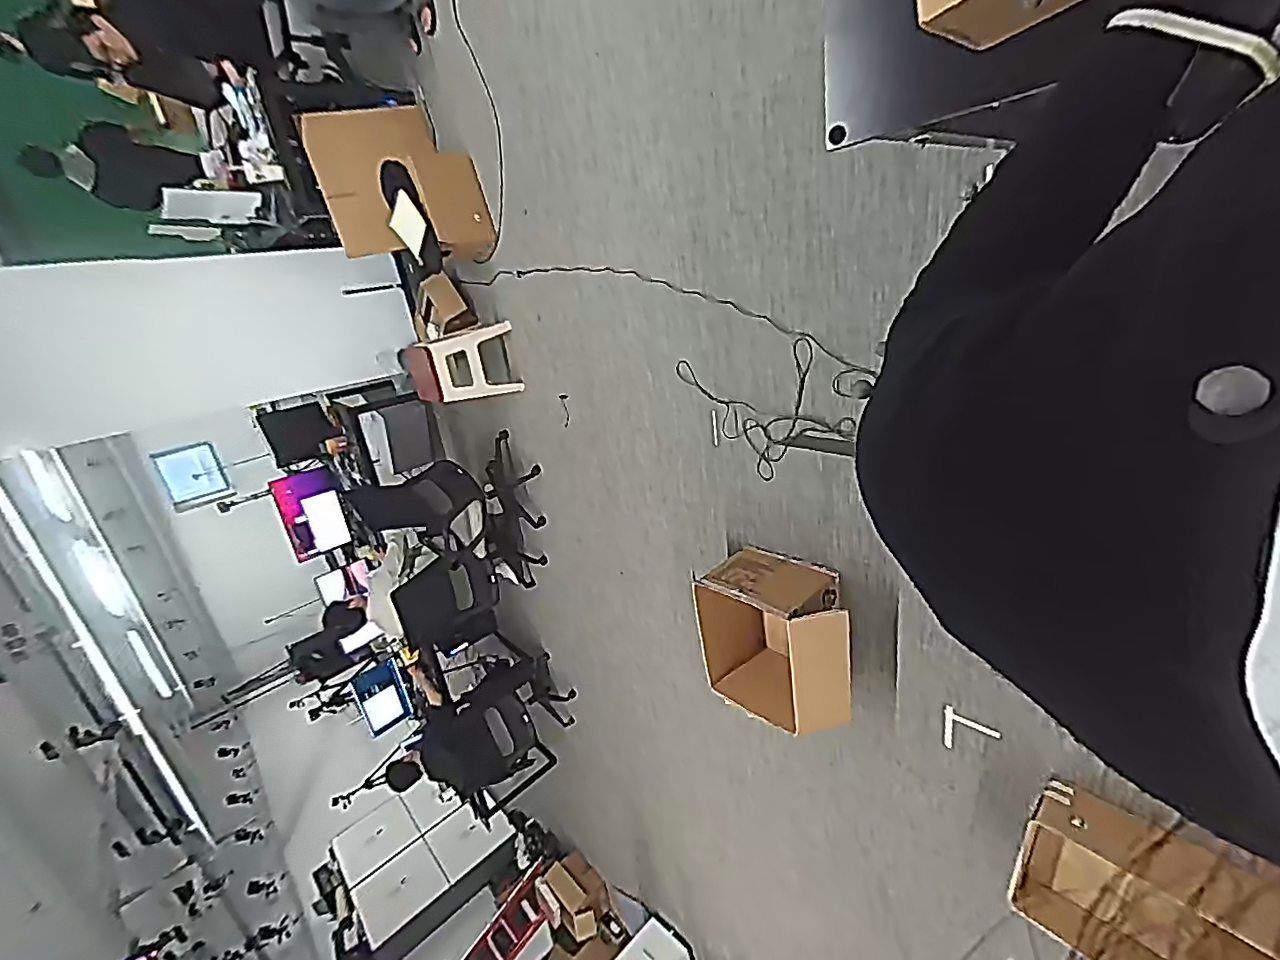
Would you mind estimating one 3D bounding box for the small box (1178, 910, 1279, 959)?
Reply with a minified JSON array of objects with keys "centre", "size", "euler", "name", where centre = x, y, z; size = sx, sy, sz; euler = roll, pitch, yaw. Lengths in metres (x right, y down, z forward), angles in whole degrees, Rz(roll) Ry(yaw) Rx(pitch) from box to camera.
[{"centre":[1.425,1.196,1.289],"size":[0.179,0.176,0.168],"euler":[20,122,45],"name":"small box"}]
